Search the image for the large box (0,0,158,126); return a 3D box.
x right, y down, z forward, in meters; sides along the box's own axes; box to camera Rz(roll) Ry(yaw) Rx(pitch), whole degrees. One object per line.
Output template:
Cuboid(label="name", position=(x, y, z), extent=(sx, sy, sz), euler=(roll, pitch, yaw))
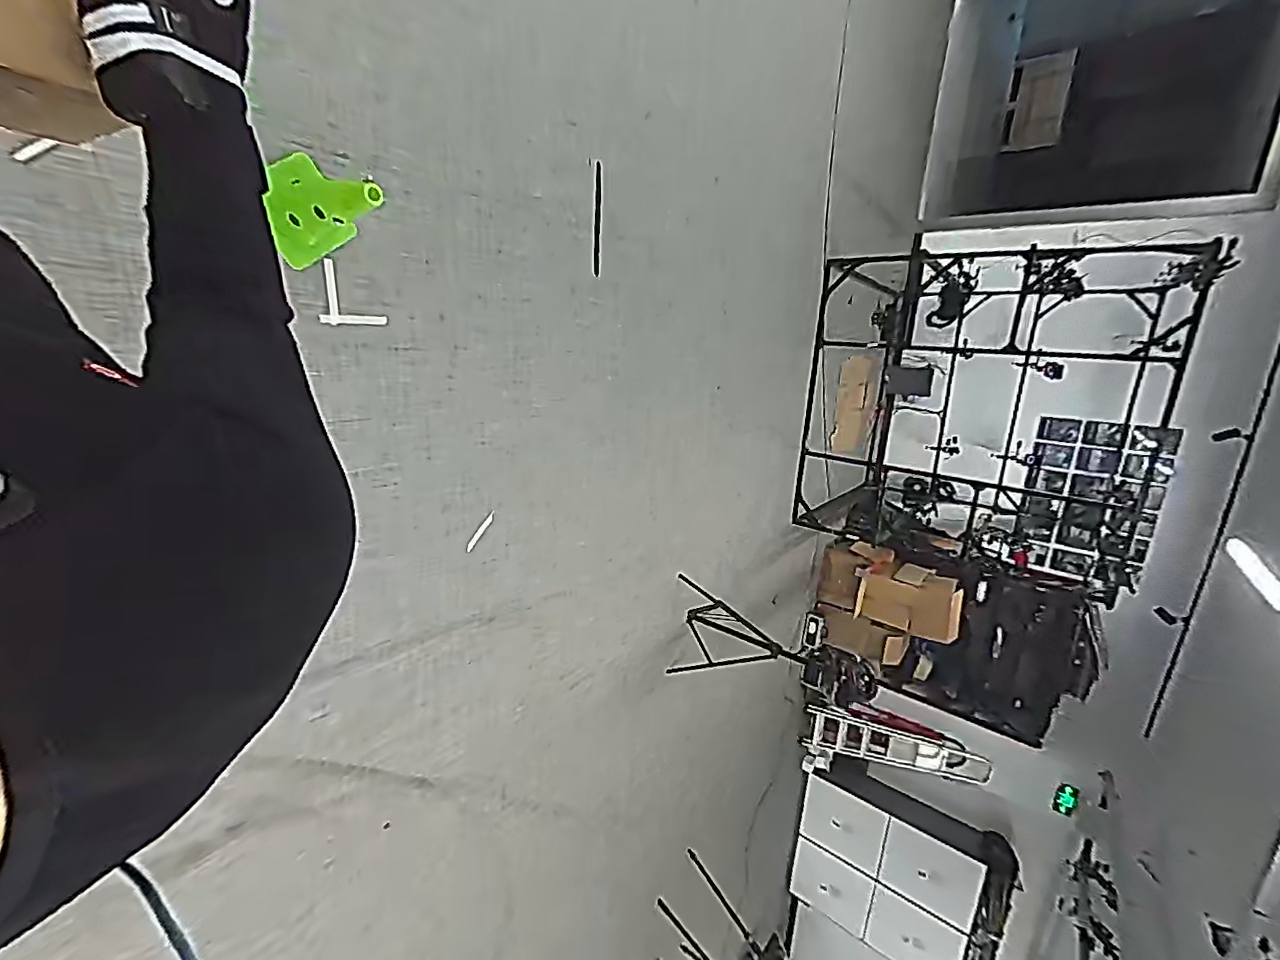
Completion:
Cuboid(label="large box", position=(-0.574, -0.444, 0.287), extent=(0.408, 0.320, 0.320), euler=(-12, 116, -53))

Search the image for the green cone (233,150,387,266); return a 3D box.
Cuboid(label="green cone", position=(-0.666, -0.604, 1.172), extent=(0.202, 0.368, 0.200), euler=(-55, 140, -29))
